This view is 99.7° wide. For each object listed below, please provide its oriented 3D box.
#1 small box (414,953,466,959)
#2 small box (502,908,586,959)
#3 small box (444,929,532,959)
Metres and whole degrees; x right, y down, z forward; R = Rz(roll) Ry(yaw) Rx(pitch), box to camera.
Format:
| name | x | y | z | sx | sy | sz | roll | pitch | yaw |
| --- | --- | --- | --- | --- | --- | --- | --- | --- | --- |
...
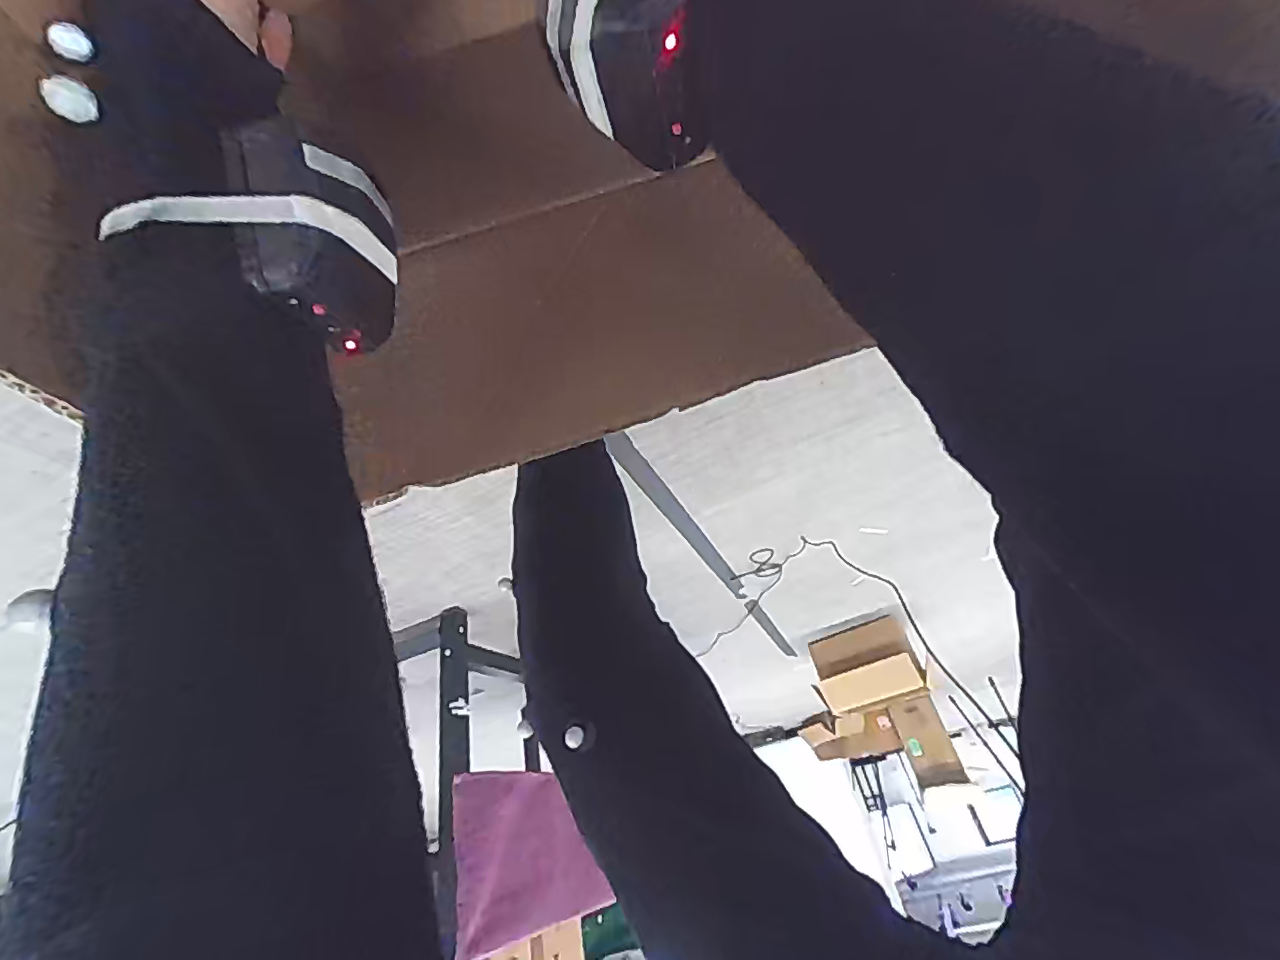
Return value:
| name | x | y | z | sx | sy | sz | roll | pitch | yaw |
| --- | --- | --- | --- | --- | --- | --- | --- | --- | --- |
| small box | -0.470 | 1.123 | 1.131 | 0.179 | 0.176 | 0.168 | -25 | 146 | 18 |
| small box | -0.268 | 1.319 | 1.504 | 0.179 | 0.176 | 0.168 | -28 | 144 | 21 |
| small box | -0.371 | 1.215 | 1.305 | 0.179 | 0.176 | 0.168 | -22 | 147 | 13 |
